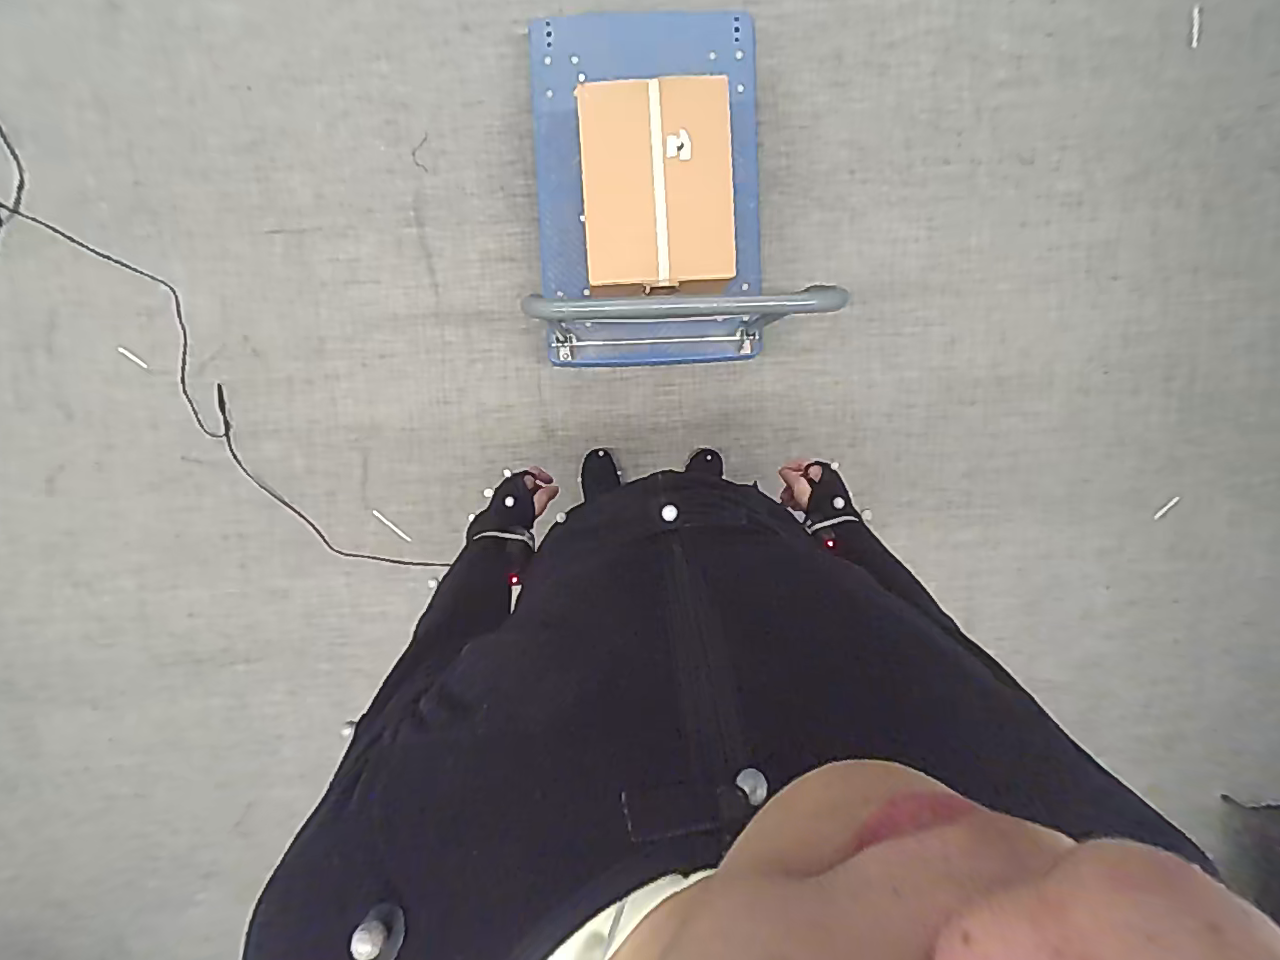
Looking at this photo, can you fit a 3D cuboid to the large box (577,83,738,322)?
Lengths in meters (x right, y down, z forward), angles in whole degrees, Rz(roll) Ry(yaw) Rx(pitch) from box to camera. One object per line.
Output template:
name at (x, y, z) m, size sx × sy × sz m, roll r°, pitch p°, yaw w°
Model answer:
large box at (0.037, -0.615, 1.267) m, size 0.320 × 0.320 × 0.408 m, roll -4°, pitch 94°, yaw -2°
